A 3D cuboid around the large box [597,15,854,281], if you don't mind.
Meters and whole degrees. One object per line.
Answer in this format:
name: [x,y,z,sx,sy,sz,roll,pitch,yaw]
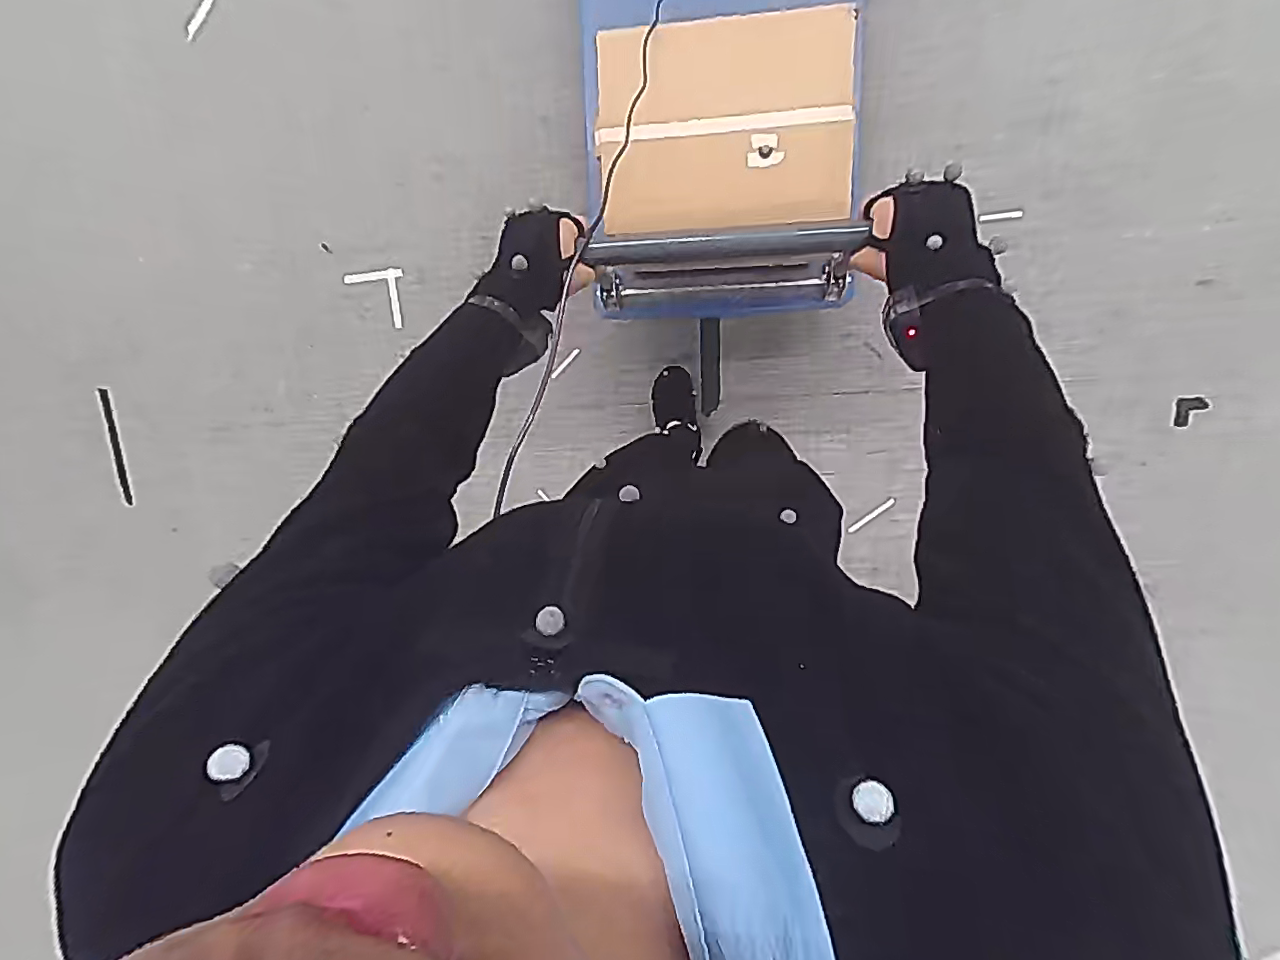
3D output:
large box: [0.148,-0.573,1.009,0.408,0.320,0.320,-1,100,6]
